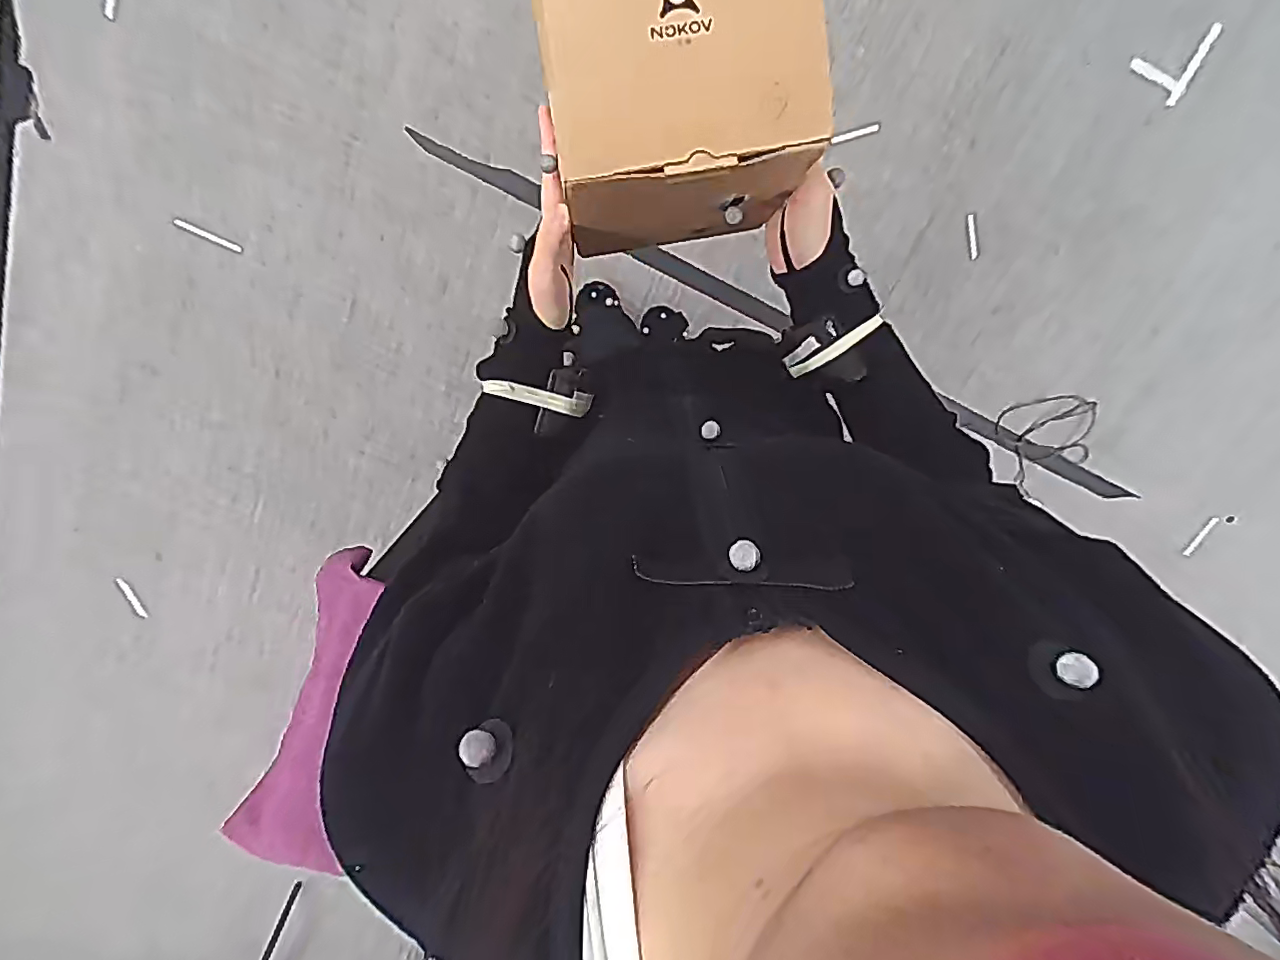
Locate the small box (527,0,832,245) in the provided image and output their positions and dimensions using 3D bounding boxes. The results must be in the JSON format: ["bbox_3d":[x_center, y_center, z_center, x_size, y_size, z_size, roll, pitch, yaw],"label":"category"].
[{"bbox_3d":[0.016,-0.282,0.382,0.168,0.176,0.179,-10,98,-2],"label":"small box"}]
